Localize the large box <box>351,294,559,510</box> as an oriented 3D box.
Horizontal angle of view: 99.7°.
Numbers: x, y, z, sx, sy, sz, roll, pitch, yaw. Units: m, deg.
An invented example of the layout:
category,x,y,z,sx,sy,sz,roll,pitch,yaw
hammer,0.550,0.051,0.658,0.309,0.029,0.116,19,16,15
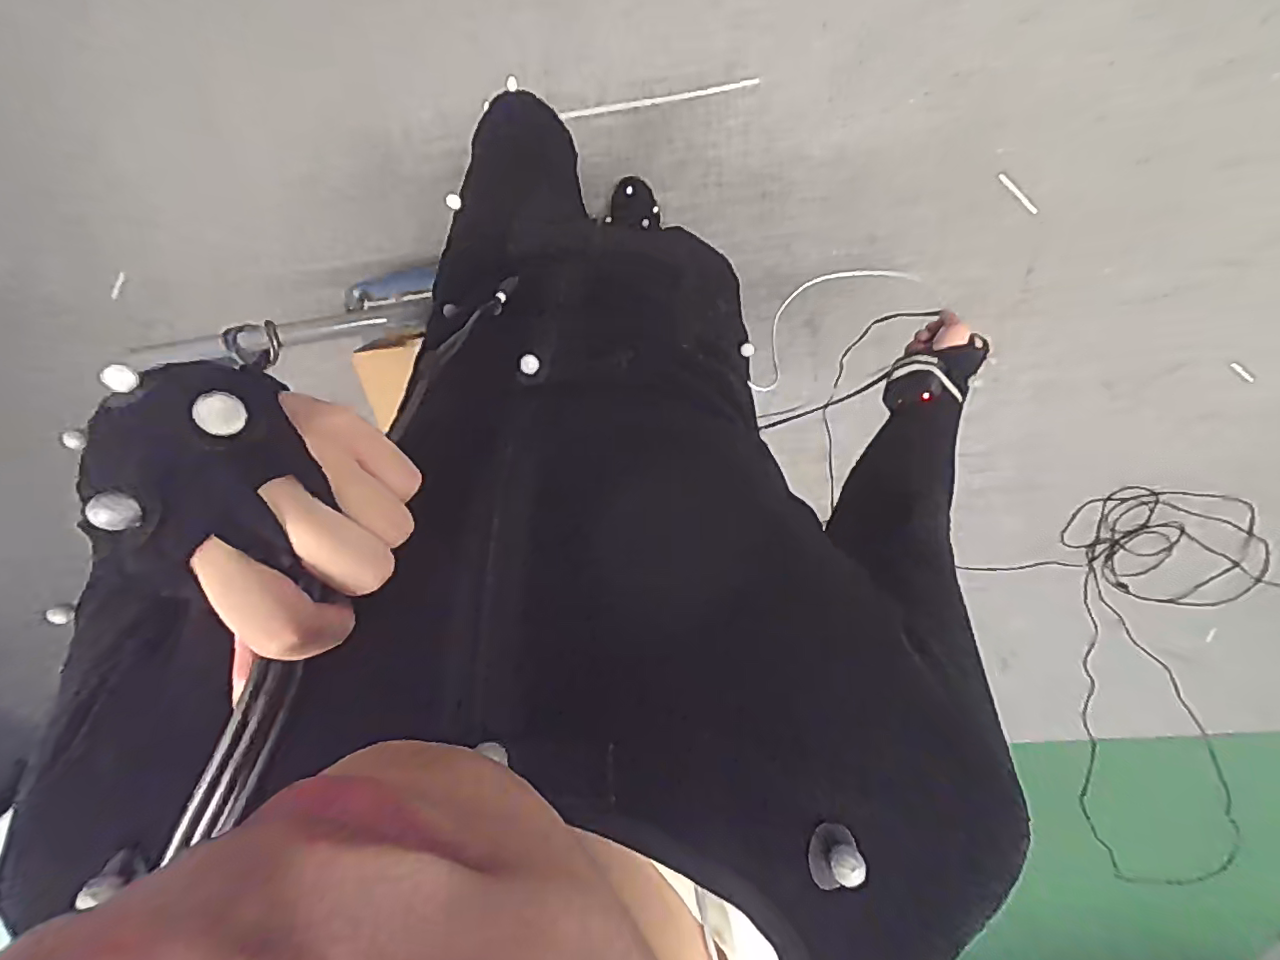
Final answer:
category,x,y,z,sx,sy,sz,roll,pitch,yaw
large box,-0.404,-0.192,1.303,0.320,0.320,0.408,-6,121,6
